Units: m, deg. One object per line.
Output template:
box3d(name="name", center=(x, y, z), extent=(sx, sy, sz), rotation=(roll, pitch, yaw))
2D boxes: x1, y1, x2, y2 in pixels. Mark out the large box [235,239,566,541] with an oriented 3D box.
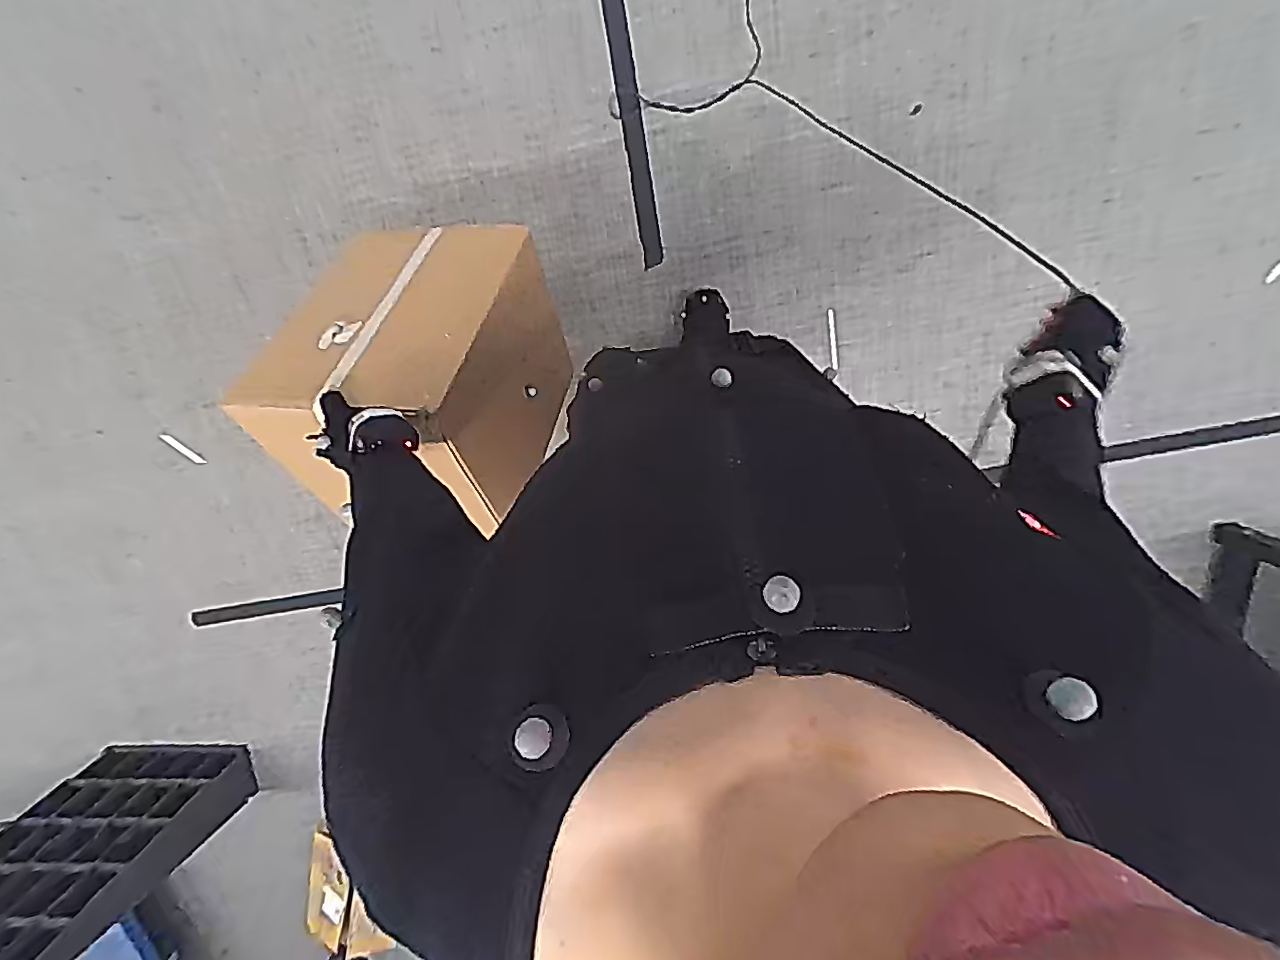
box3d(name="large box", center=(-0.341, -0.152, 0.914), extent=(0.320, 0.408, 0.320), rotation=(2, 145, 12))
